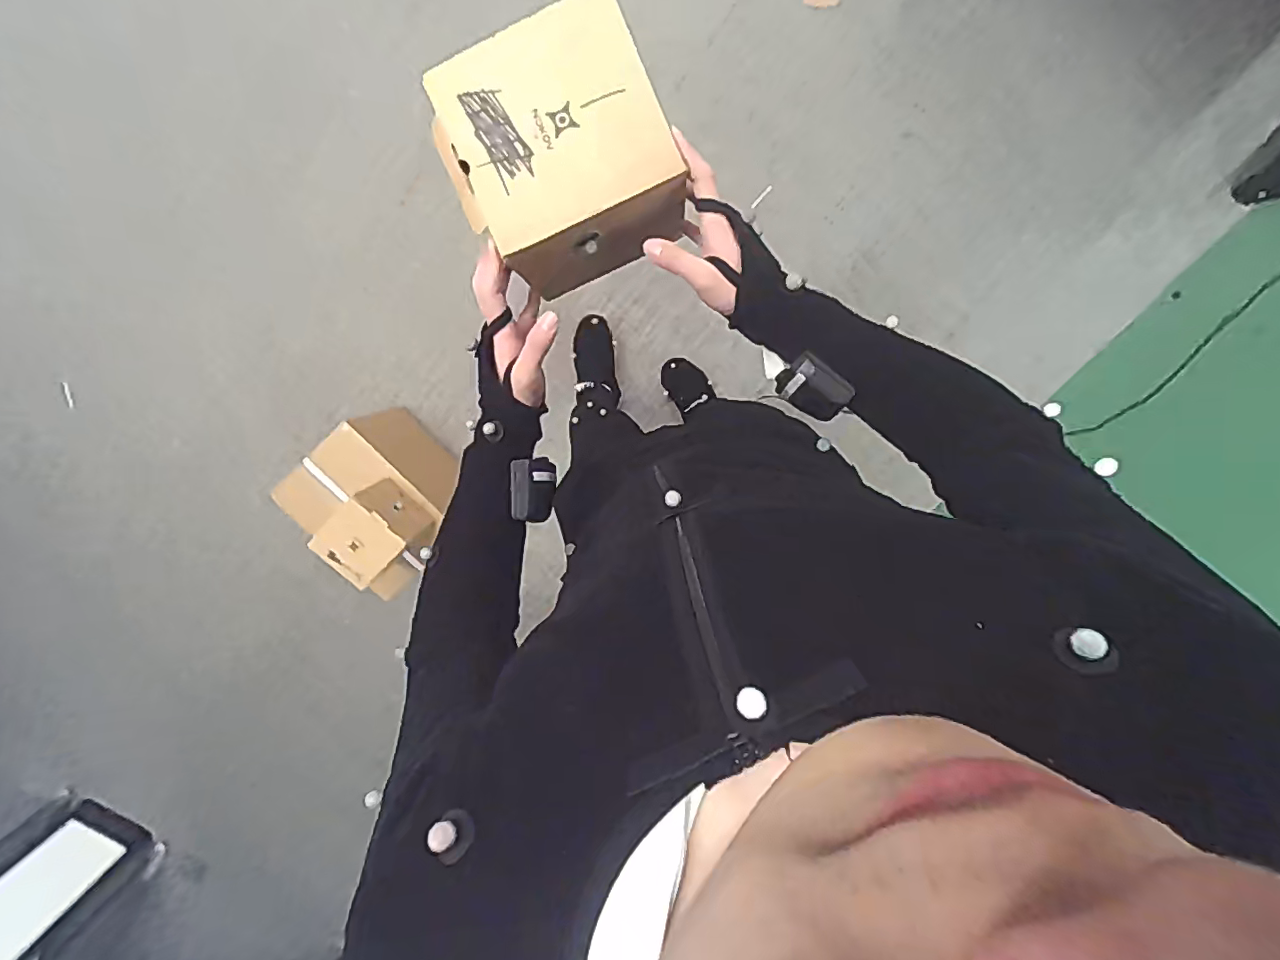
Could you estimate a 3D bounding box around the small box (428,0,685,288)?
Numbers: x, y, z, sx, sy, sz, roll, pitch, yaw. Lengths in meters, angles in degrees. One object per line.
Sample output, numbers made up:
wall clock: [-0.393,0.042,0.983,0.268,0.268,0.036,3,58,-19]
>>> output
small box: [-0.065,-0.311,0.528,0.179,0.176,0.168,-23,95,5]

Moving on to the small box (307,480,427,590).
small box: [-0.647,0.124,1.312,0.168,0.176,0.179,44,101,-10]
